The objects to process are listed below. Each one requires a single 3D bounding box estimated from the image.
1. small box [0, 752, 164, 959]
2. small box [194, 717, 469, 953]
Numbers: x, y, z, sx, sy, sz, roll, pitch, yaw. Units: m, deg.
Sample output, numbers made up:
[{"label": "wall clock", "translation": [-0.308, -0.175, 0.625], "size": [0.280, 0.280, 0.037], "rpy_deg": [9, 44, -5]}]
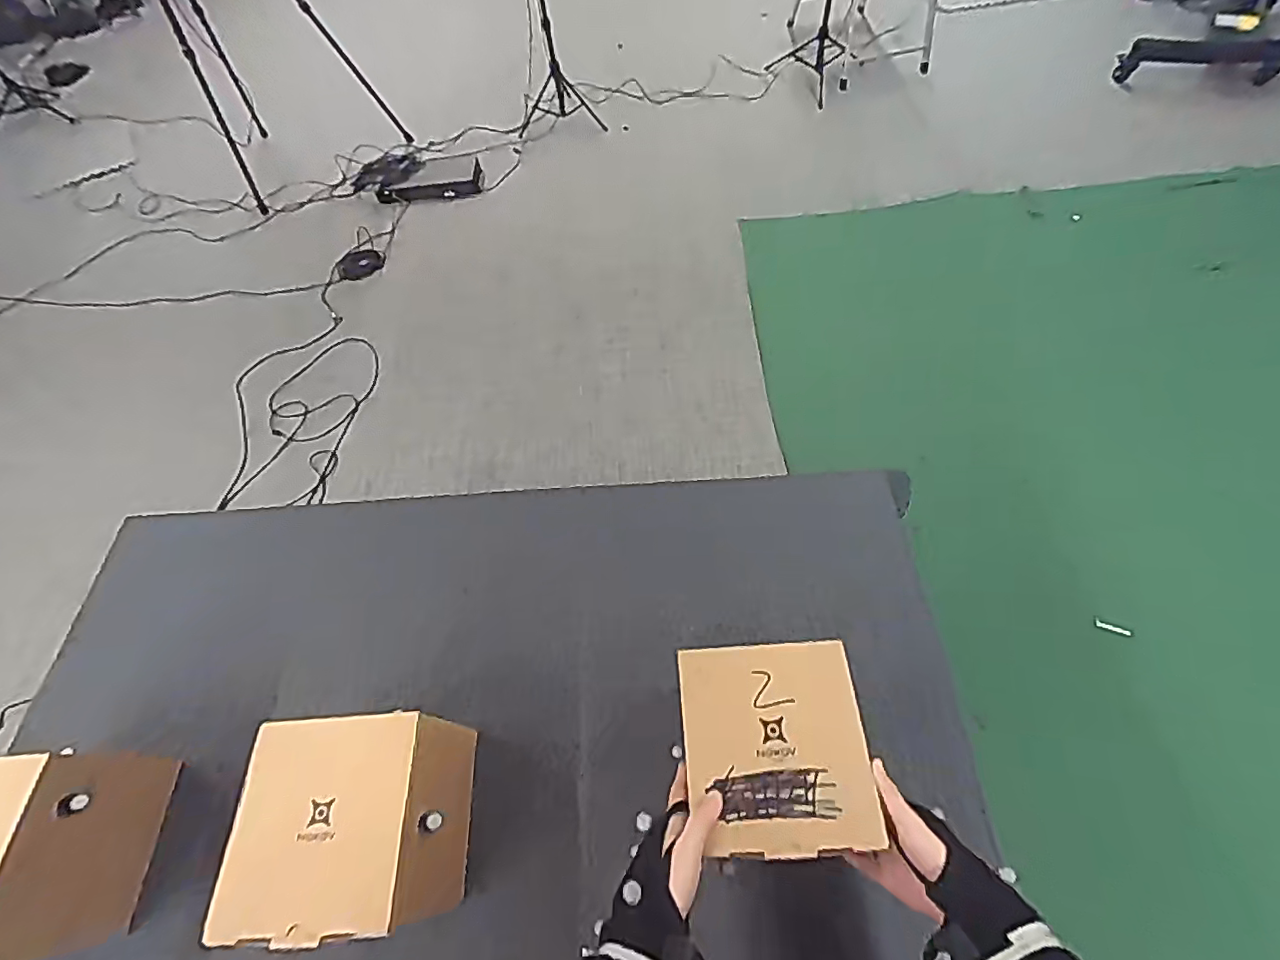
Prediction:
[{"label": "small box", "translation": [-0.660, 0.394, 0.563], "size": [0.168, 0.176, 0.179], "rpy_deg": [-5, 59, 2]}, {"label": "small box", "translation": [-0.288, 0.354, 0.557], "size": [0.168, 0.176, 0.179], "rpy_deg": [-4, 59, 2]}]
